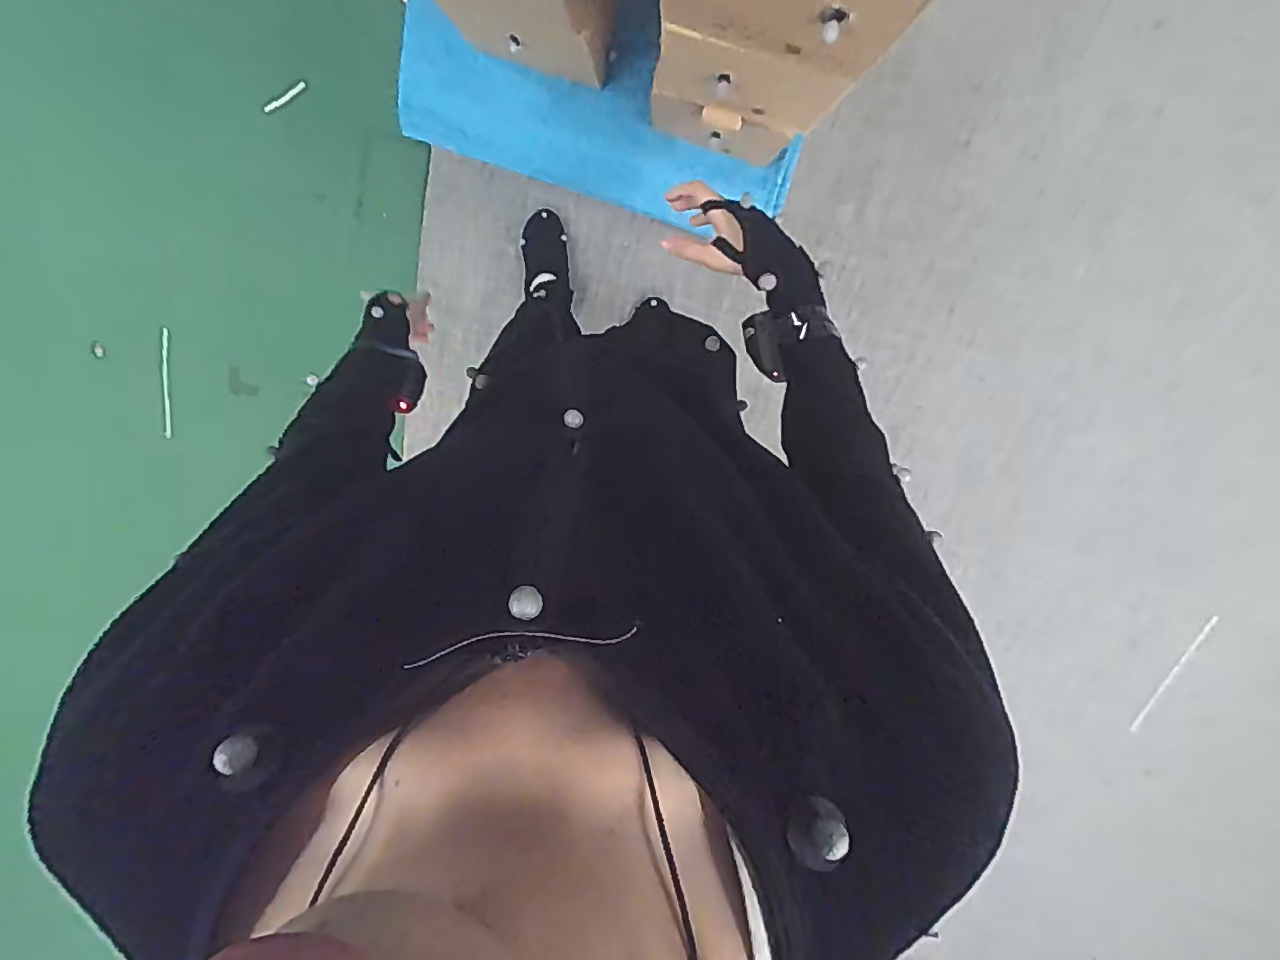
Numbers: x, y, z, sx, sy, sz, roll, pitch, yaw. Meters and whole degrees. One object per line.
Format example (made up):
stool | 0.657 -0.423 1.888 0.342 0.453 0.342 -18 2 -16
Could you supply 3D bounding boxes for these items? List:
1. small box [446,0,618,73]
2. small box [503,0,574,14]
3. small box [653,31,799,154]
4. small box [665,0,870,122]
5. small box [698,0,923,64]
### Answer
small box | -0.109 -0.583 0.590 0.179 0.176 0.168 15 110 -4
small box | -0.122 -0.526 0.436 0.179 0.176 0.168 15 110 -4
small box | 0.119 -0.501 0.617 0.168 0.176 0.179 16 111 -5
small box | 0.123 -0.442 0.465 0.168 0.176 0.179 14 109 -3
small box | 0.121 -0.387 0.312 0.168 0.176 0.179 16 109 -5
